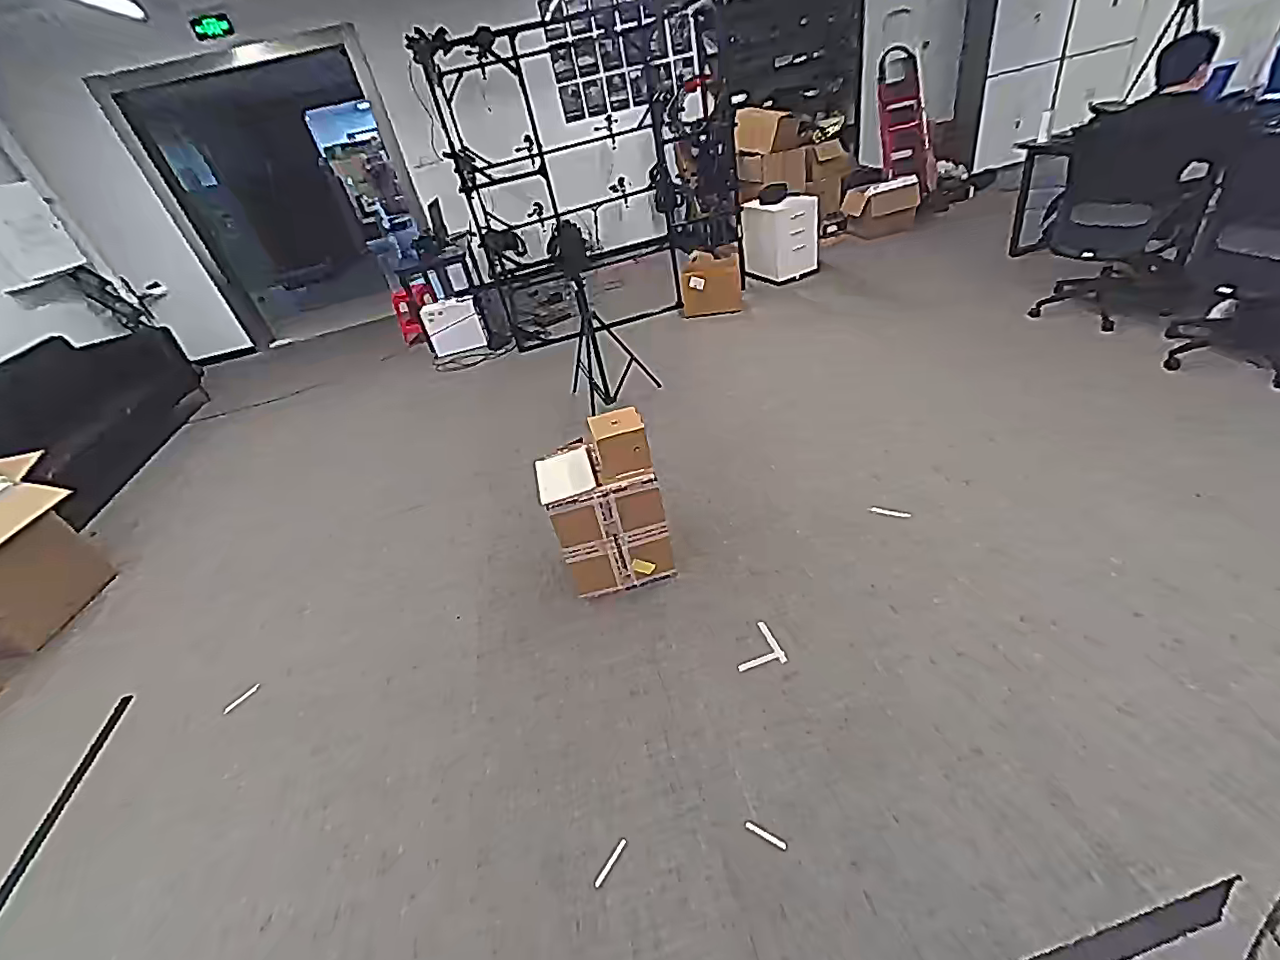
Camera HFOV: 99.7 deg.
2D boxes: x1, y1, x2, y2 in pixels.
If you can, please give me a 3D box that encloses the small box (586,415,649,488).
[{"bbox_3d":[-0.074,-0.098,1.891,0.179,0.176,0.168,-17,36,-7],"label":"small box"}]
